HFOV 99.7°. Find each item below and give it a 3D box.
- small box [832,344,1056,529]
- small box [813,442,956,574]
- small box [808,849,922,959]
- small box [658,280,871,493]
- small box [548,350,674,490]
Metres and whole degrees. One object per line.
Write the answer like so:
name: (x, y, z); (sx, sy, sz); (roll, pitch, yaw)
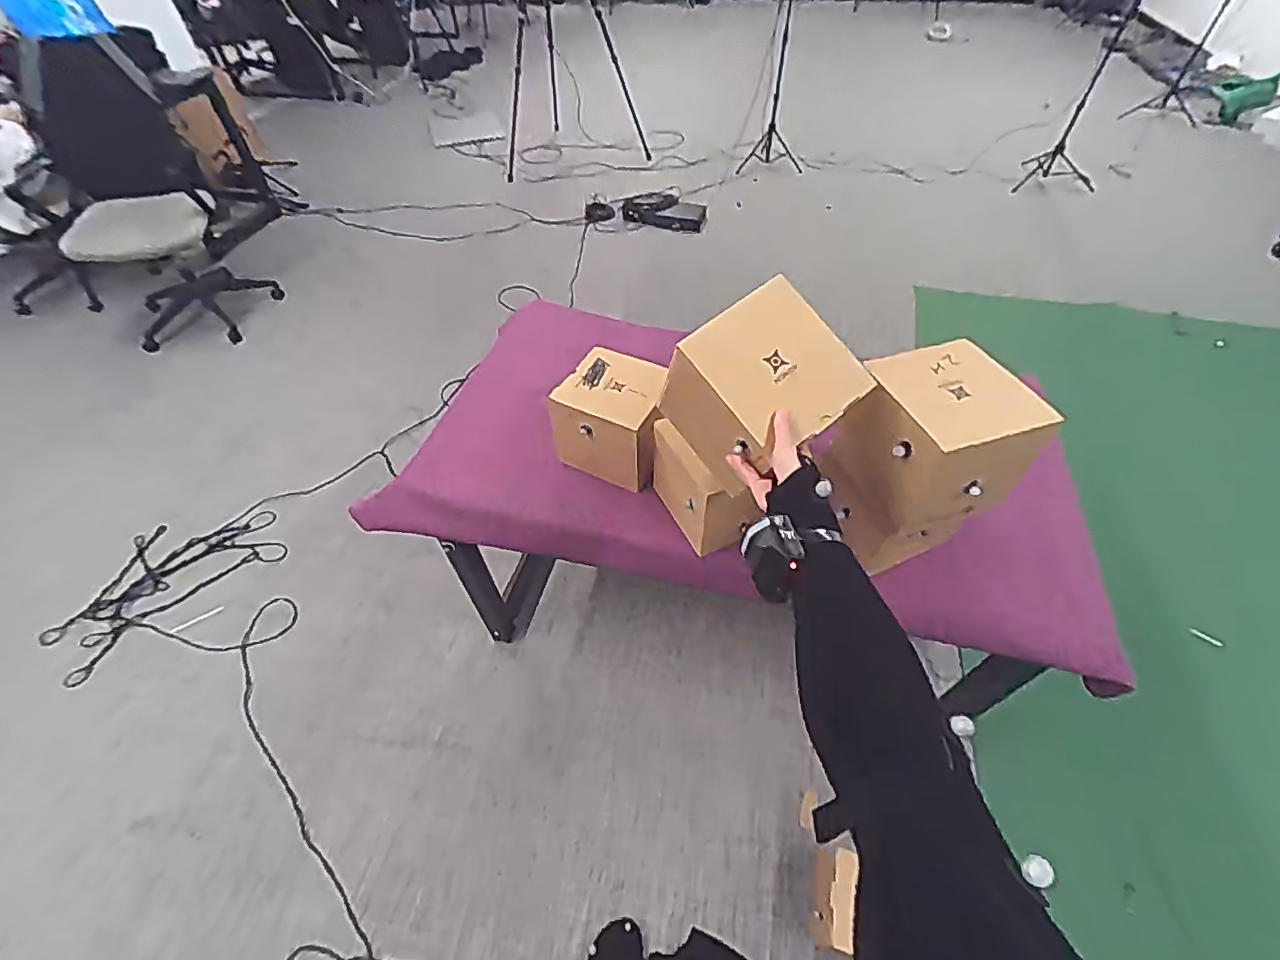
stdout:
small box: (0.389, -0.052, 0.731); (0.168, 0.176, 0.179); (-14, 49, -10)
small box: (0.403, 0.027, 0.881); (0.179, 0.176, 0.168); (-20, 52, -14)
small box: (0.454, 0.889, 1.106); (0.179, 0.176, 0.168); (13, 52, 11)
small box: (0.143, -0.108, 0.691); (0.168, 0.176, 0.179); (-37, 83, -15)
small box: (-0.045, -0.108, 1.004); (0.179, 0.176, 0.168); (22, 54, 17)
